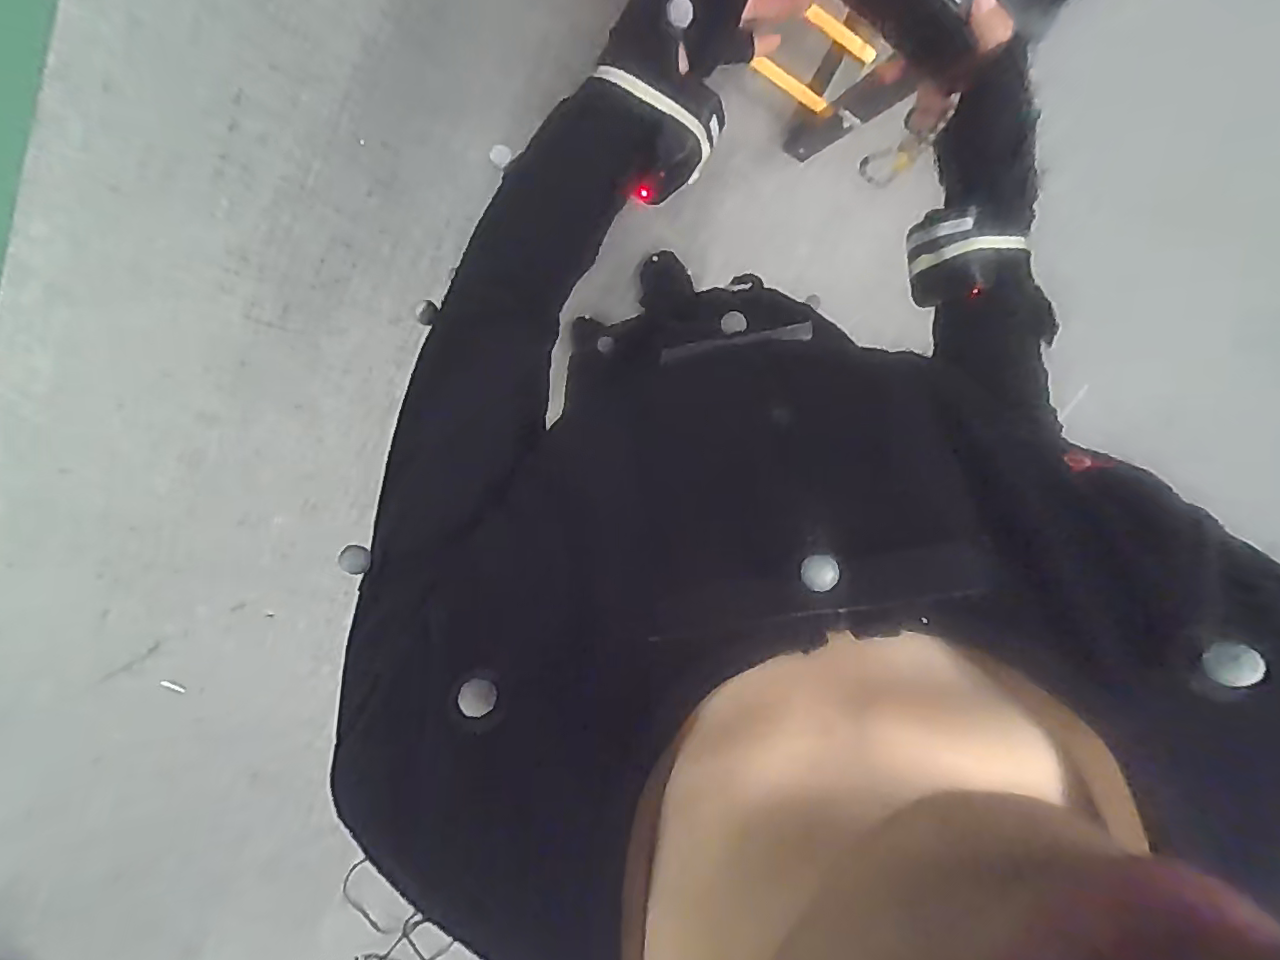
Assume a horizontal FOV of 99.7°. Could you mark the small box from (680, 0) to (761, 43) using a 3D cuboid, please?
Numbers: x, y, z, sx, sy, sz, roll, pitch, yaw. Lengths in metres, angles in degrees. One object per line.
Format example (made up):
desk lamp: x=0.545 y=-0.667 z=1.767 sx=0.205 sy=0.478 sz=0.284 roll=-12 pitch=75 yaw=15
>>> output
small box: x=0.167 y=-0.952 z=0.976 sx=0.168 sy=0.176 sz=0.179 roll=30 pitch=106 yaw=-13
